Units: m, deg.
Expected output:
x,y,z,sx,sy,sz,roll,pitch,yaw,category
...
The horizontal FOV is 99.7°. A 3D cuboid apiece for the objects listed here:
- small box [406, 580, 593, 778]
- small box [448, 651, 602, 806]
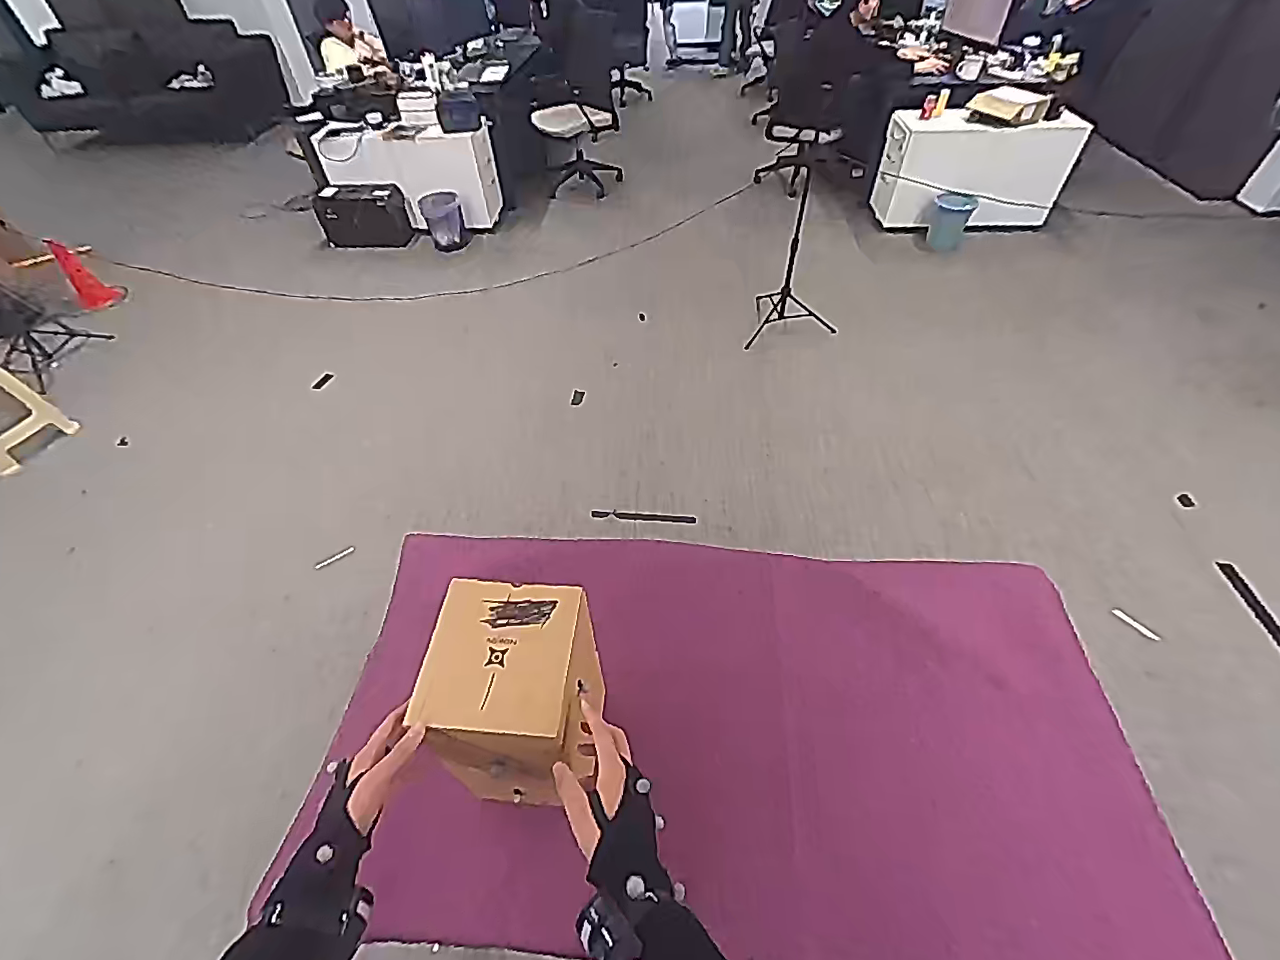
x,y,z,sx,sy,sz,roll,pitch,yaw,category
-0.154,0.246,0.668,0.168,0.176,0.179,3,50,5,small box
-0.152,0.356,0.788,0.168,0.176,0.179,5,48,5,small box
